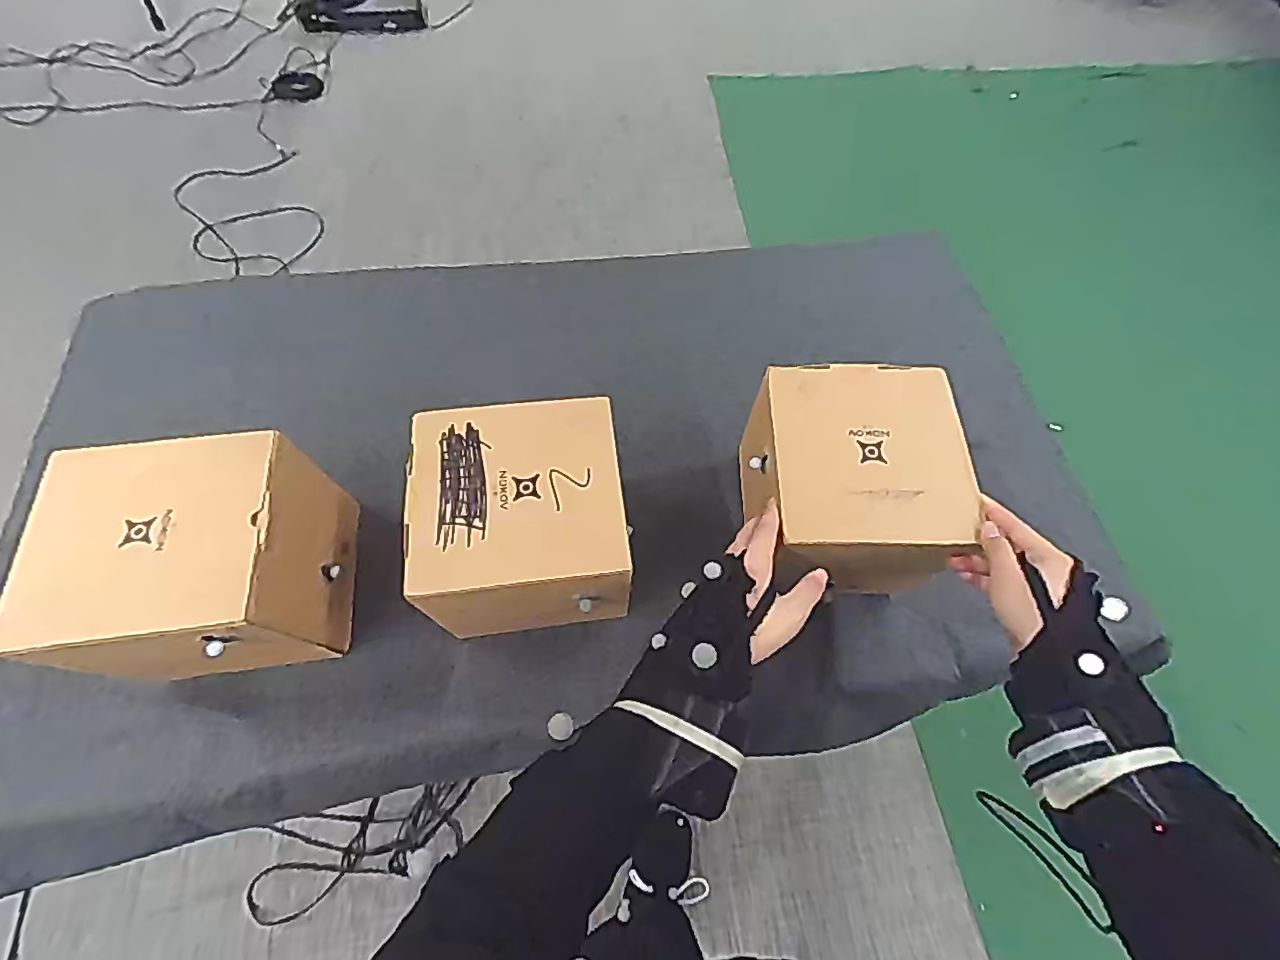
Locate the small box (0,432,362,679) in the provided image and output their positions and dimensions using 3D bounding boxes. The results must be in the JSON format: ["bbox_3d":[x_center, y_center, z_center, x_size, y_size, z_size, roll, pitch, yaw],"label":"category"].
[{"bbox_3d":[-0.382,0.077,0.490,0.179,0.176,0.168,-6,64,-7],"label":"small box"}]

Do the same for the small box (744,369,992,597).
[{"bbox_3d":[0.201,0.009,0.538,0.168,0.176,0.179,-1,65,2],"label":"small box"}]
